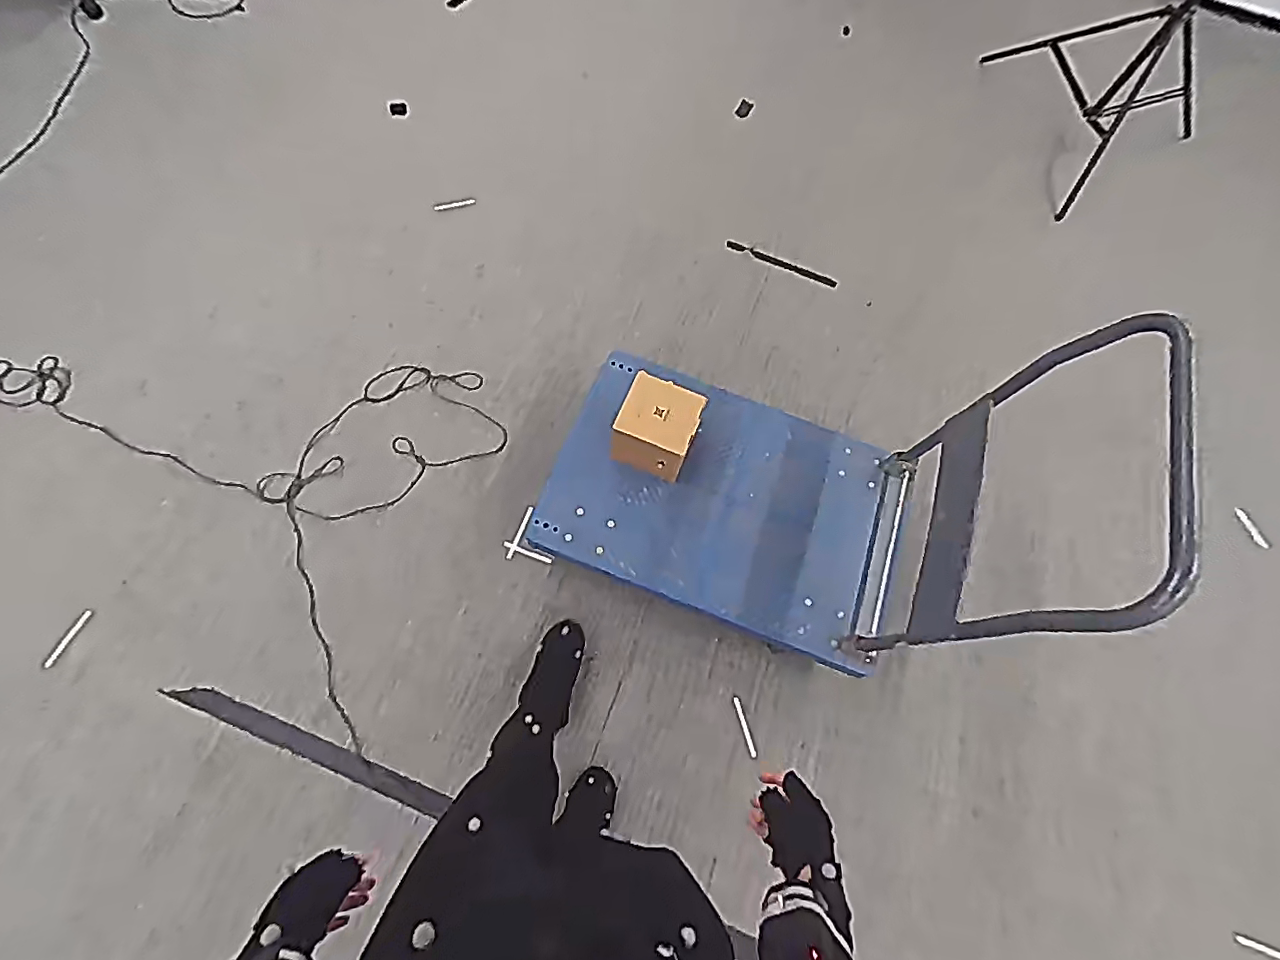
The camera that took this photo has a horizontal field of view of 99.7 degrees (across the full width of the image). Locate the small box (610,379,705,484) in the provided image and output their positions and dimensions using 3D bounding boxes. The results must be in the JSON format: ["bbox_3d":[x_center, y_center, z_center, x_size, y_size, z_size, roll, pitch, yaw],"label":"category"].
[{"bbox_3d":[0.038,-0.109,1.307,0.179,0.176,0.168,21,67,4],"label":"small box"}]
